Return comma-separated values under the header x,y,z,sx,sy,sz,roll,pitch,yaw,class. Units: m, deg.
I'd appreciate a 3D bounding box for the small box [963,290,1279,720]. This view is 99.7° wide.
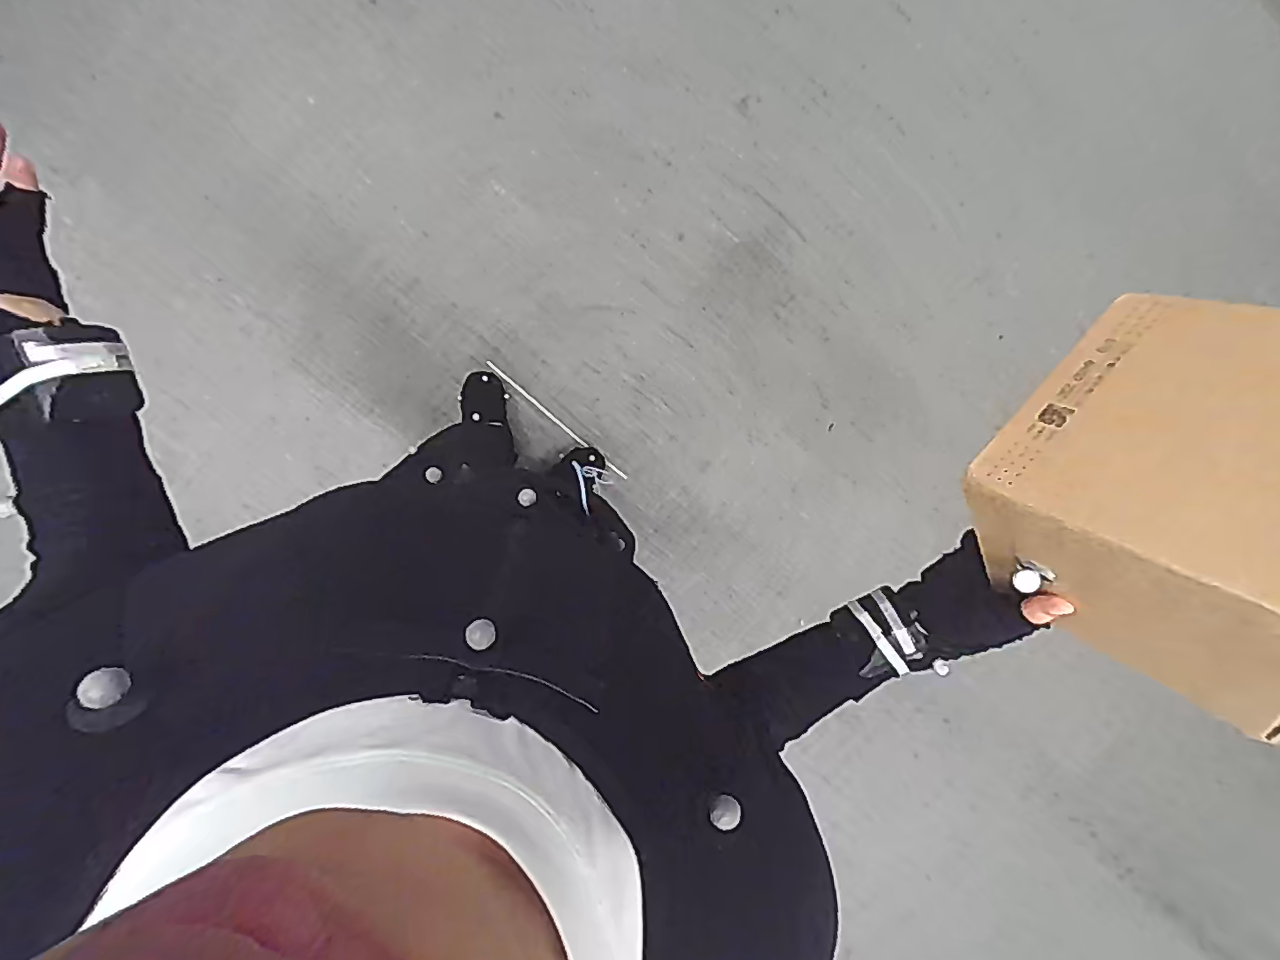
x,y,z,sx,sy,sz,roll,pitch,yaw,class
0.338,0.009,0.335,0.168,0.176,0.179,-48,131,-3,small box
